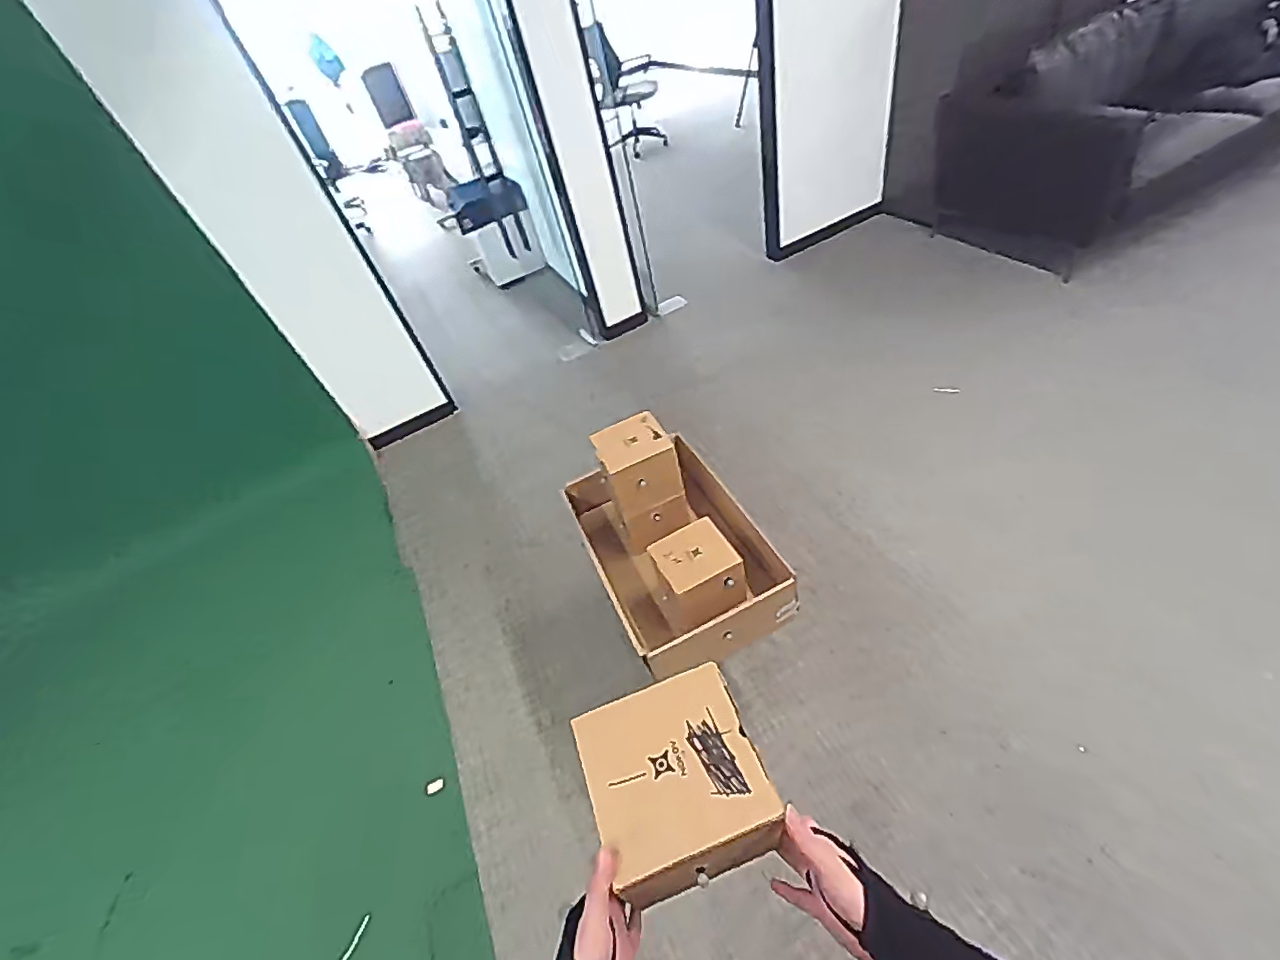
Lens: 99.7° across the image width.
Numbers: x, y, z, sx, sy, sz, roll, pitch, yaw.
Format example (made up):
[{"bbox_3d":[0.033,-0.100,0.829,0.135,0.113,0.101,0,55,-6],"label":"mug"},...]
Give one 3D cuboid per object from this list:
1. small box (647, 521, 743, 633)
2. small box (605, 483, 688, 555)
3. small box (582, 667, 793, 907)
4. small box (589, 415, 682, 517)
[{"bbox_3d":[0.140,0.239,1.327,0.179,0.176,0.168,-26,45,-10],"label":"small box"},{"bbox_3d":[0.022,0.083,1.519,0.179,0.176,0.168,-22,45,-8],"label":"small box"},{"bbox_3d":[0.050,0.345,0.608,0.179,0.176,0.168,-18,46,-7],"label":"small box"},{"bbox_3d":[-0.008,-0.032,1.406,0.179,0.176,0.168,-24,47,-7],"label":"small box"}]
